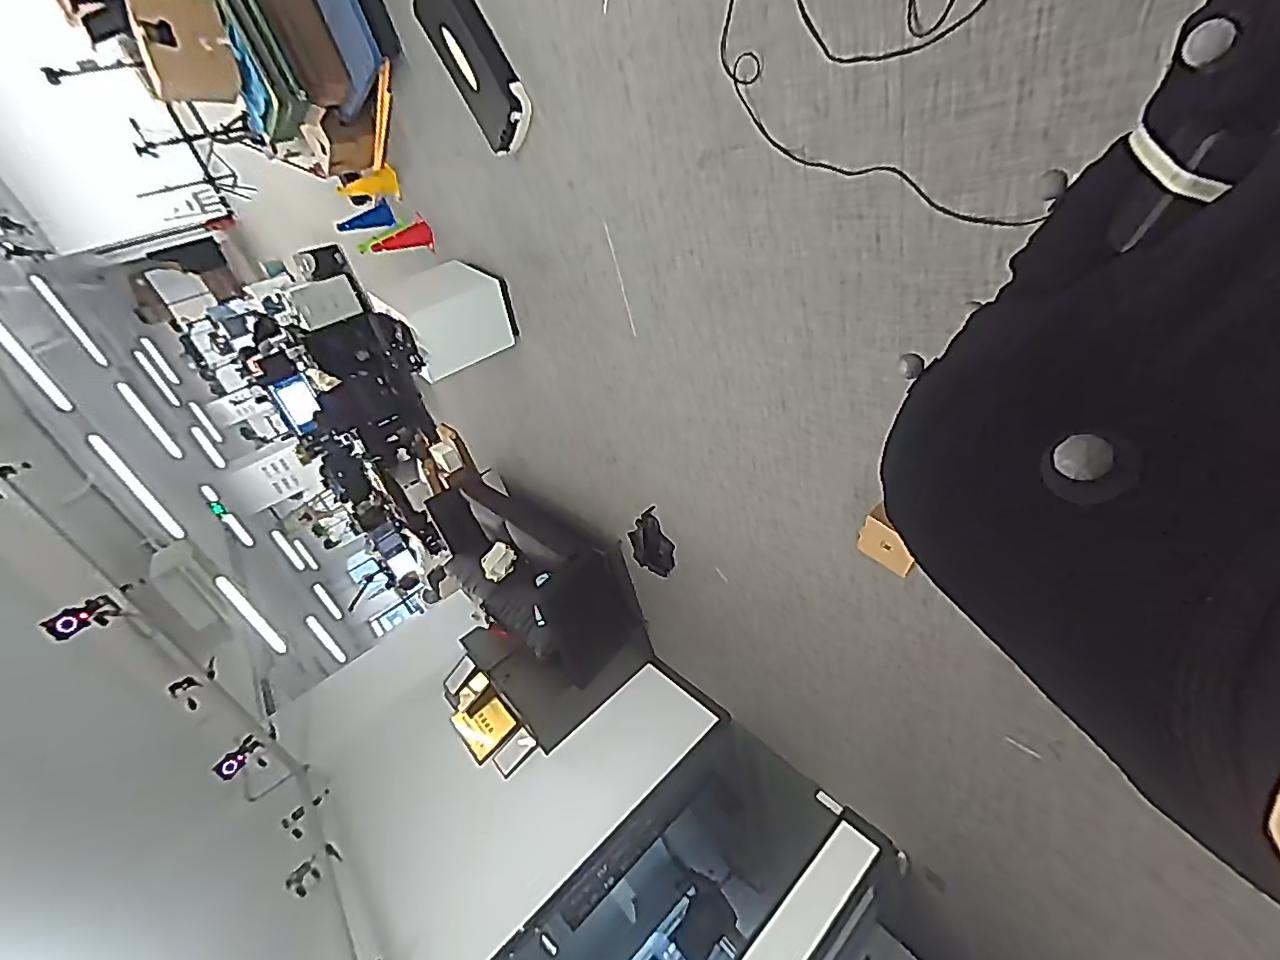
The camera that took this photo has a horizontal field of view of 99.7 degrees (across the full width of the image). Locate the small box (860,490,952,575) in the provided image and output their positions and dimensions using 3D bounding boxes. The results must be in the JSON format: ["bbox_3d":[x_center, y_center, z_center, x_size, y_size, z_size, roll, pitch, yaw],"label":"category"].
[{"bbox_3d":[0.830,0.155,1.692,0.179,0.176,0.168,36,148,33],"label":"small box"}]
